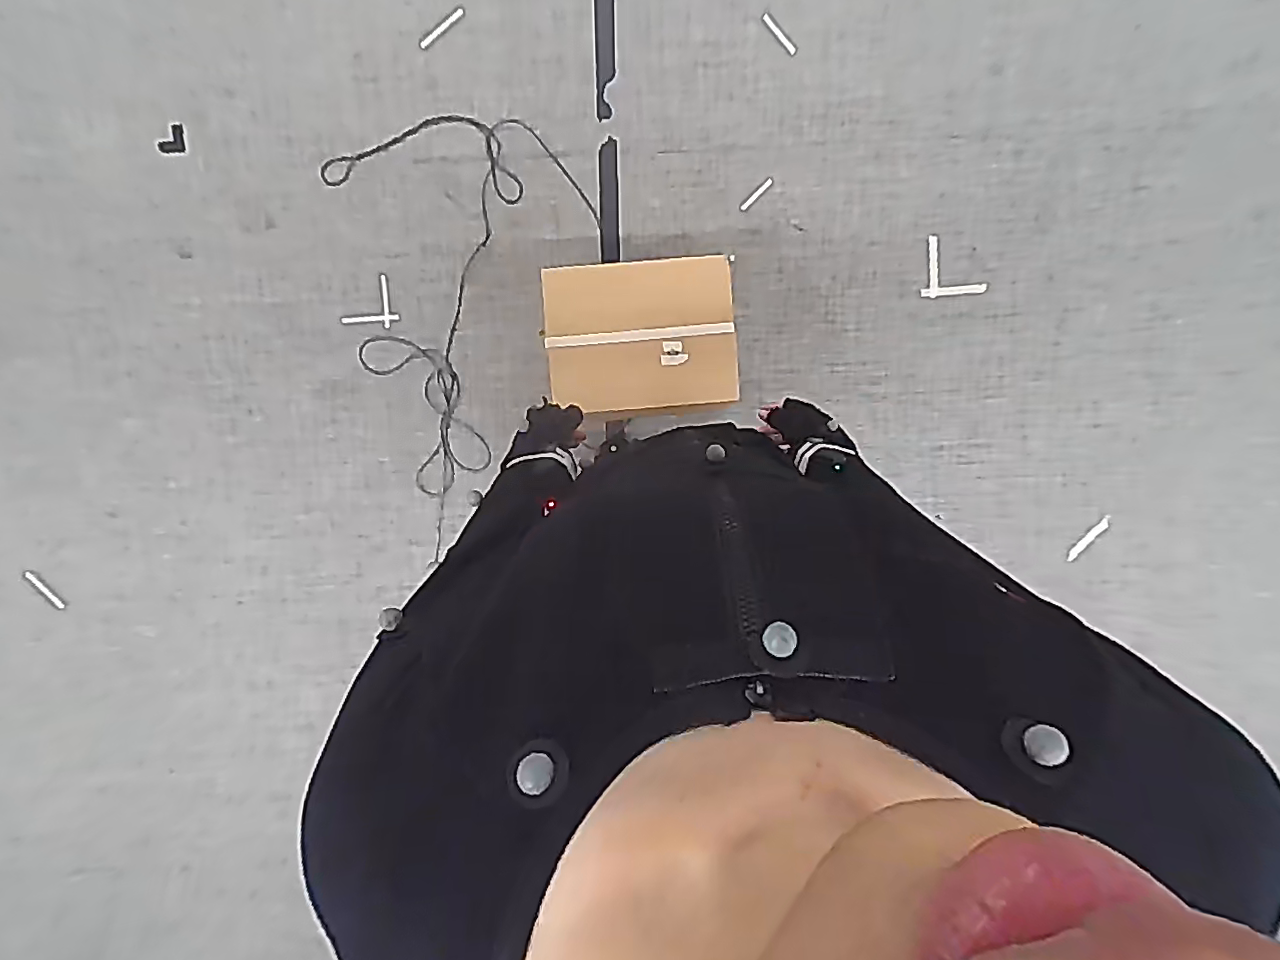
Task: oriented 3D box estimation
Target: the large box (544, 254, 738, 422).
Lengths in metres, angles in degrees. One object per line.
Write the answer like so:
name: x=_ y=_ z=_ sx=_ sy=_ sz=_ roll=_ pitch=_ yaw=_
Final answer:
large box: x=0.000 y=-0.322 z=1.317 sx=0.408 sy=0.320 sz=0.320 roll=-5 pitch=93 yaw=-1
